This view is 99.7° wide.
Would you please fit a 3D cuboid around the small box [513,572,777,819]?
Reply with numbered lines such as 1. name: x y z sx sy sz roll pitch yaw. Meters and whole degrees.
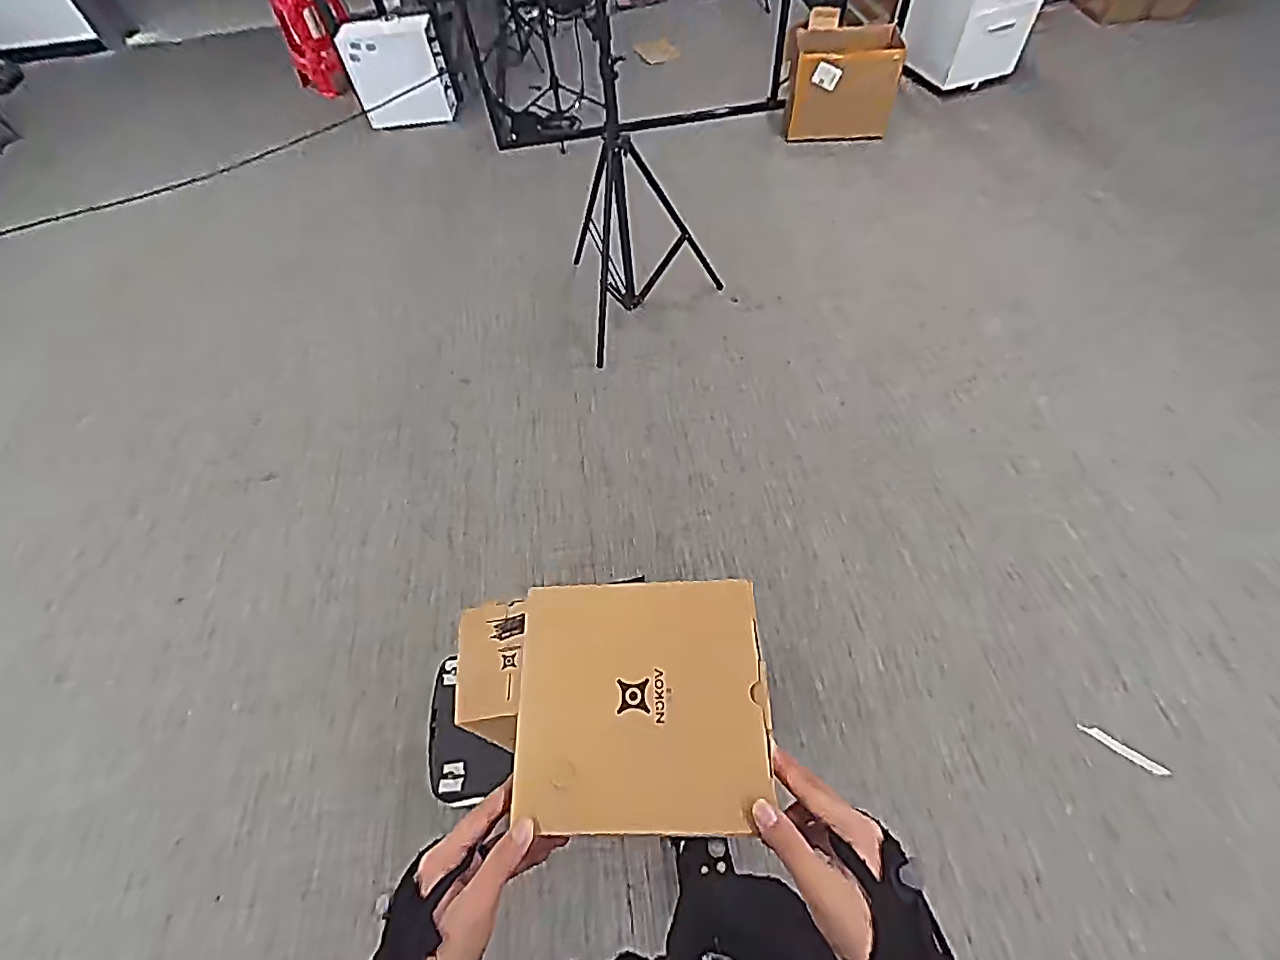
1. small box: 0.008 0.185 0.456 0.179 0.176 0.168 -3 62 3

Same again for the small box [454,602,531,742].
1. small box: -0.193 0.318 0.898 0.168 0.176 0.179 -8 57 0

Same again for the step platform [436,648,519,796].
1. step platform: -0.087 0.480 1.188 0.684 0.204 0.286 -10 56 -1
